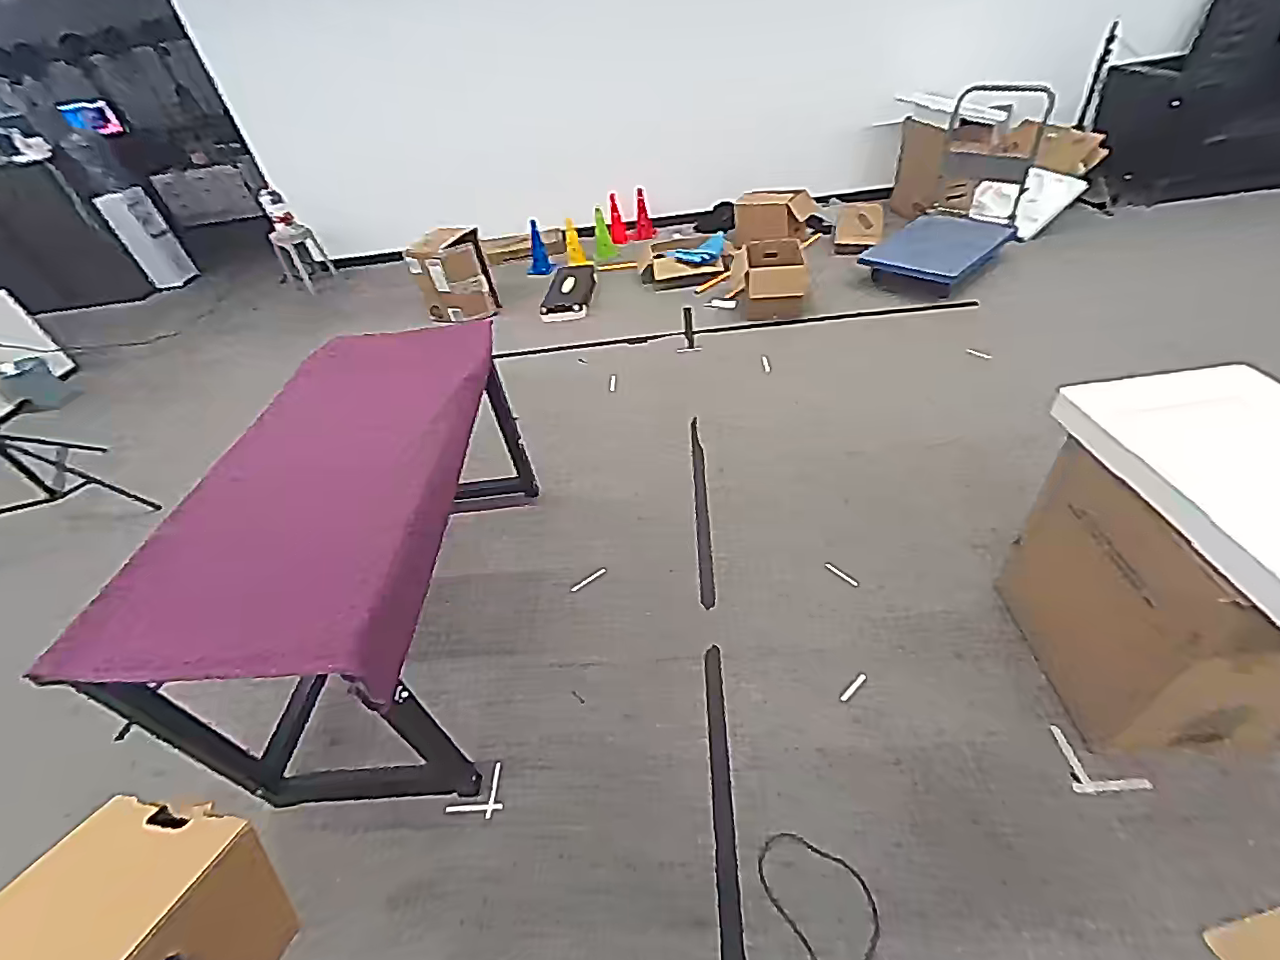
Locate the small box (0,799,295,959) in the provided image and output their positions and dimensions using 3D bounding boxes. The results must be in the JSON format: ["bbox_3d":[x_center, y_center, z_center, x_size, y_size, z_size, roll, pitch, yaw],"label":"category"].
[{"bbox_3d":[-0.452,0.430,0.479,0.168,0.176,0.179,2,22,12],"label":"small box"}]
